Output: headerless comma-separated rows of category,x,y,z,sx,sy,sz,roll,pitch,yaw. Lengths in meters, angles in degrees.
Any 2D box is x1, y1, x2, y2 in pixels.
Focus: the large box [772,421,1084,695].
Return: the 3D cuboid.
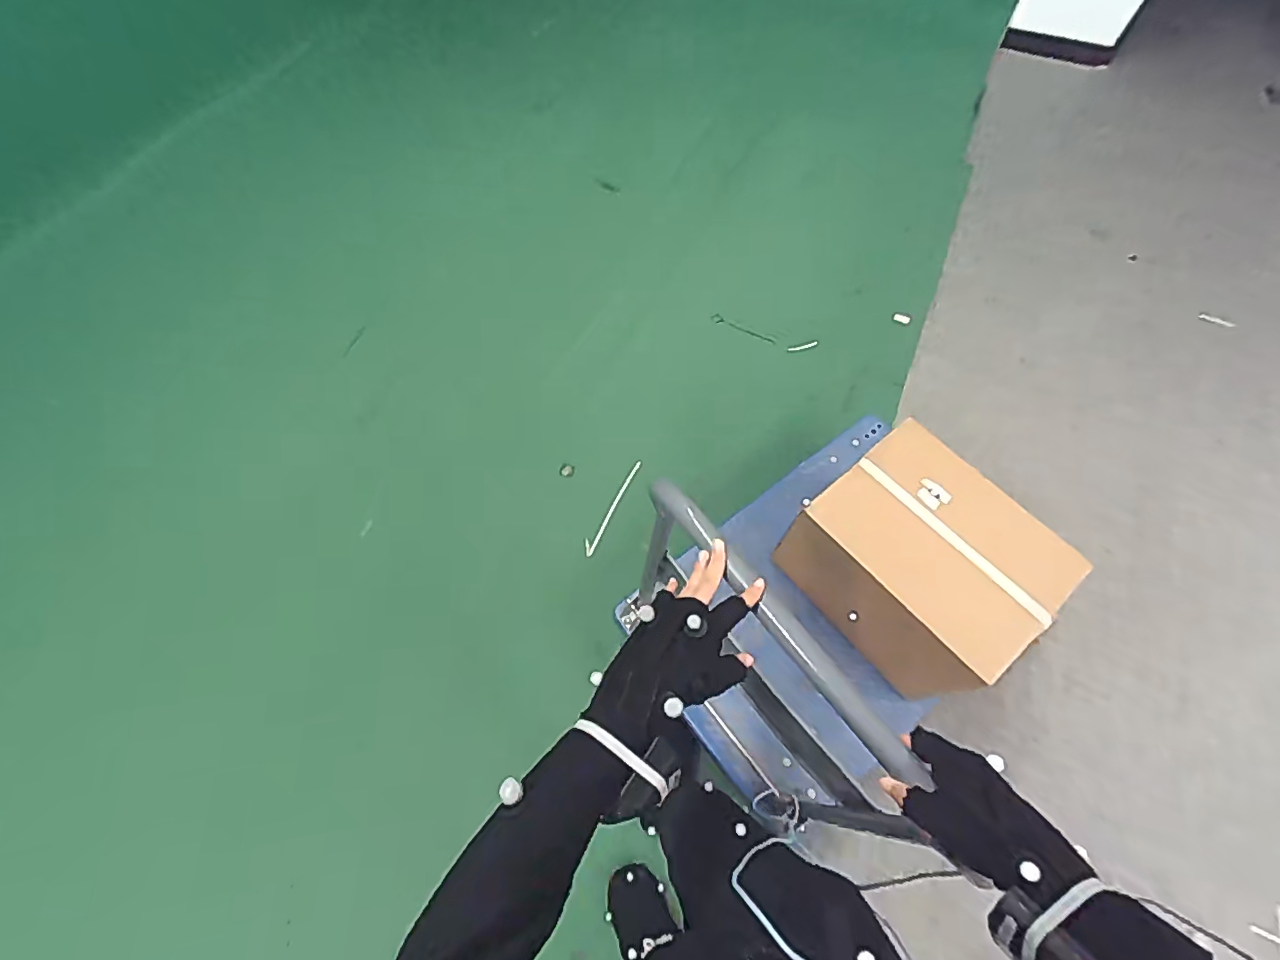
large box,0.540,0.166,1.104,0.320,0.320,0.408,-37,68,-16
